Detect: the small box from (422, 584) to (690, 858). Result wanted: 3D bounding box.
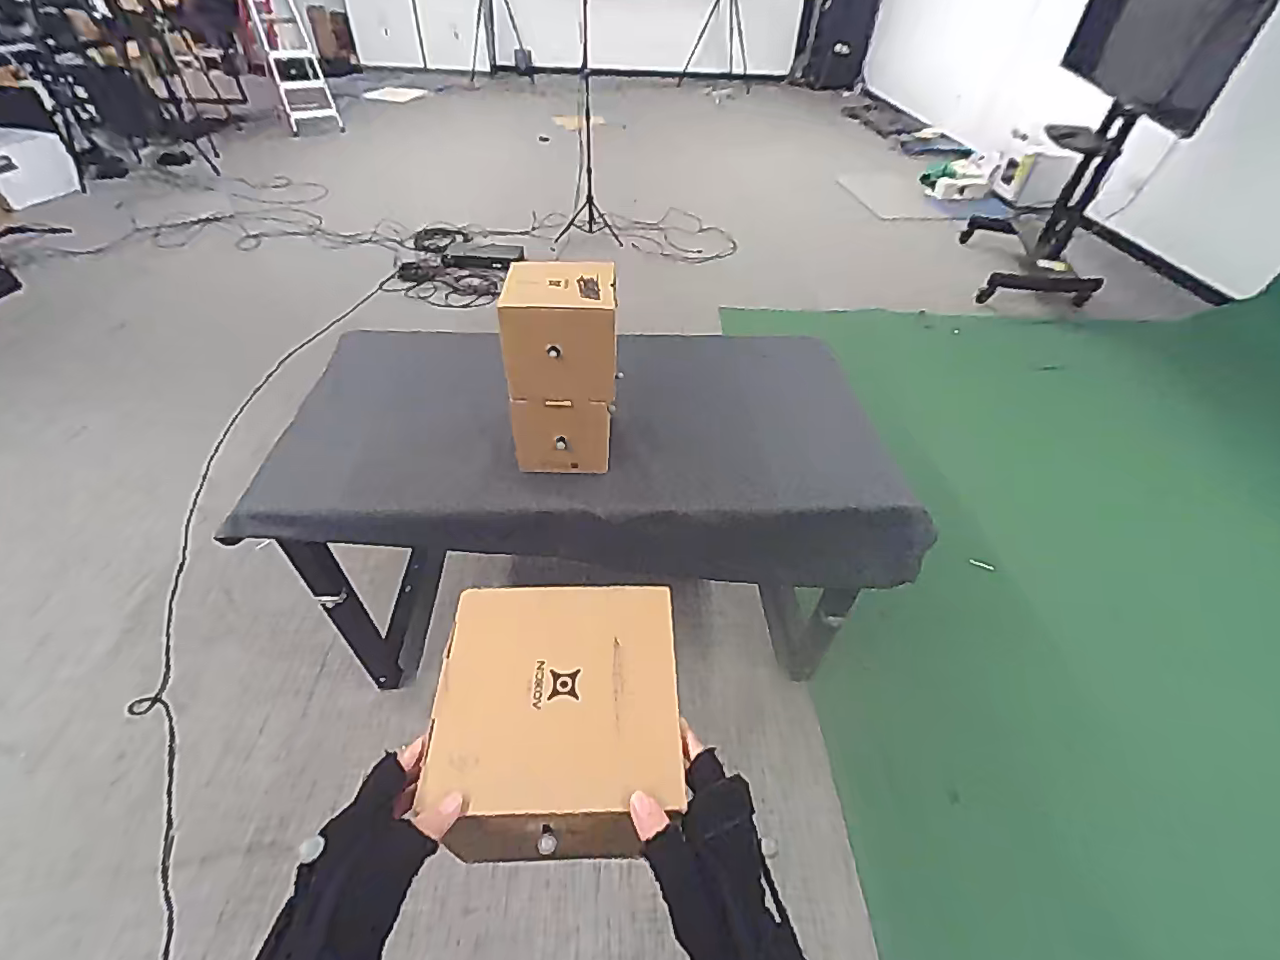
[{"bbox_3d":[-0.059,0.205,0.458,0.179,0.176,0.168,-1,47,-4],"label":"small box"}]

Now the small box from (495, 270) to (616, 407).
[{"bbox_3d":[-0.130,-0.235,0.906,0.179,0.176,0.168,-1,44,-1],"label":"small box"}]

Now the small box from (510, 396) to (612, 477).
[{"bbox_3d":[-0.139,-0.119,1.023,0.168,0.176,0.179,0,44,-2],"label":"small box"}]
